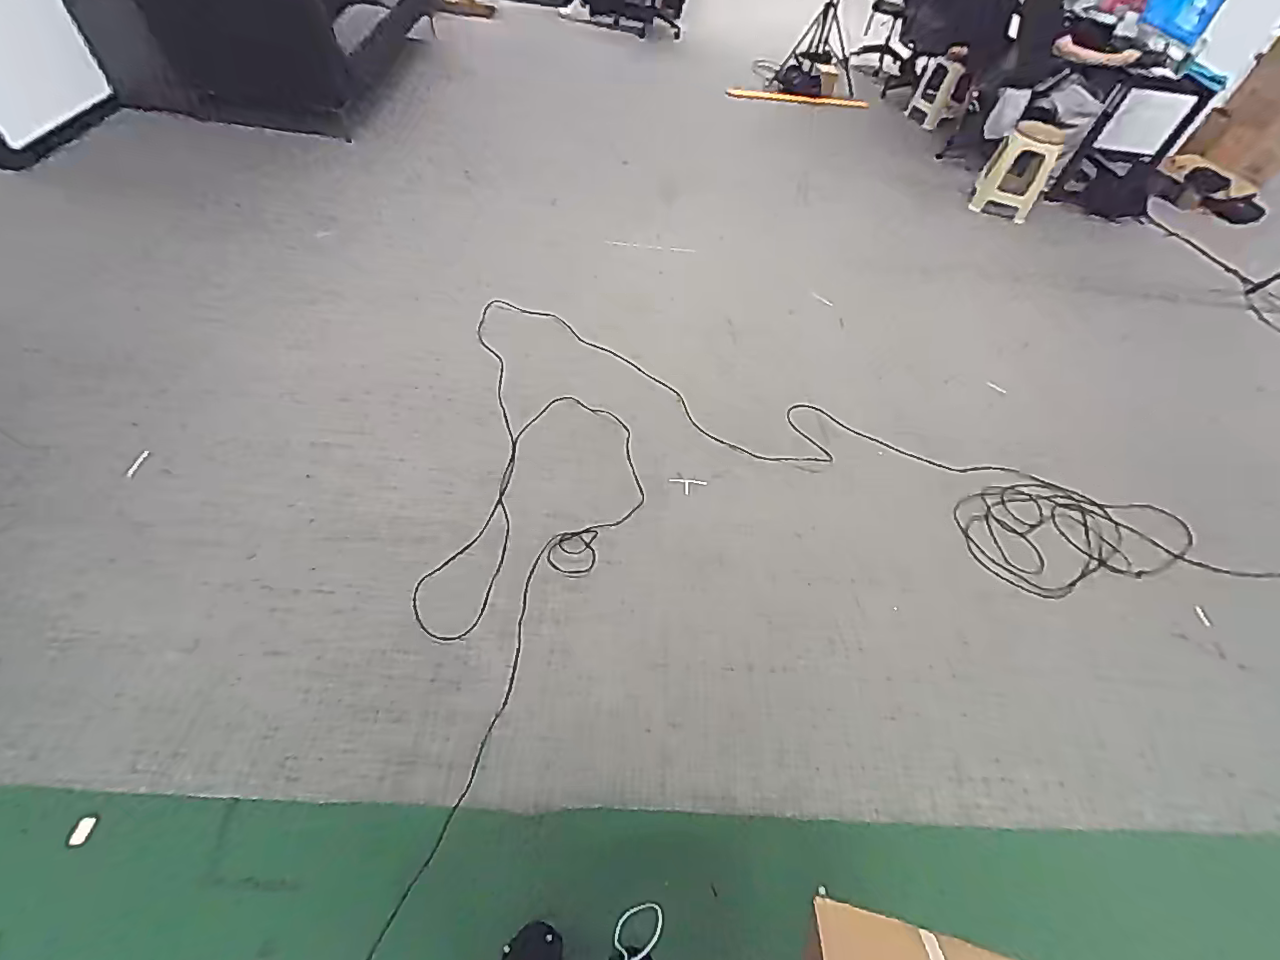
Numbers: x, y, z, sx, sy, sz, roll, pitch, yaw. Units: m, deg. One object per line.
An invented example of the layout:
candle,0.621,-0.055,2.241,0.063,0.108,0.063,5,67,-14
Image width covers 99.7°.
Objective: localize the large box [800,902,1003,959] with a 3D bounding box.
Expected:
large box,0.343,0.811,0.598,0.320,0.408,0.320,13,93,9
